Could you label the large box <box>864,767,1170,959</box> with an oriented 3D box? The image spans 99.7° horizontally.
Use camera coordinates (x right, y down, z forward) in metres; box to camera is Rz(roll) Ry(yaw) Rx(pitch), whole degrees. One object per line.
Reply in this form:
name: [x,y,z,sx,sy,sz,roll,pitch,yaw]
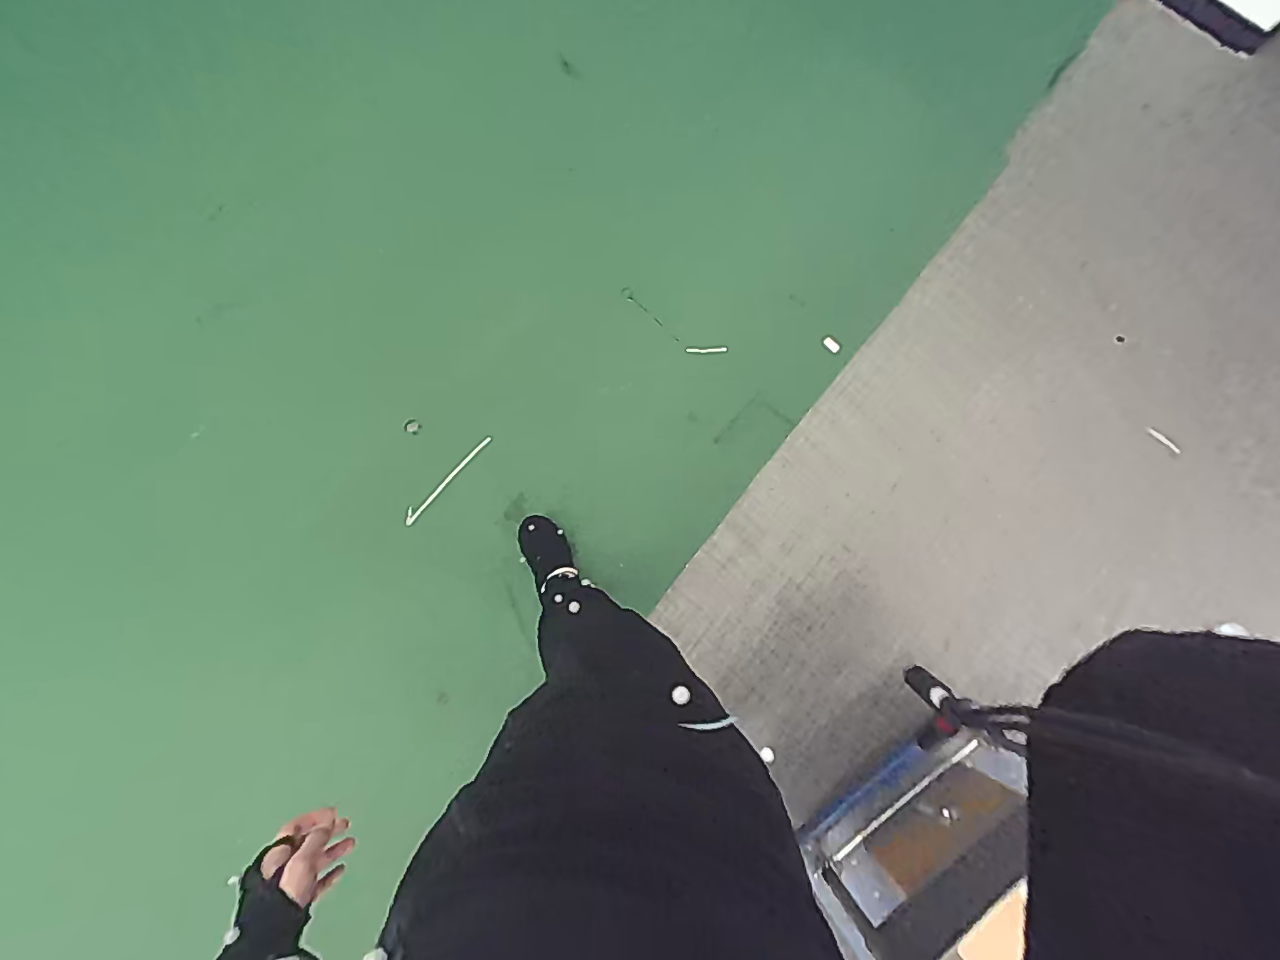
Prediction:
large box: [0.741,0.879,1.071,0.320,0.320,0.408,-32,84,-8]
